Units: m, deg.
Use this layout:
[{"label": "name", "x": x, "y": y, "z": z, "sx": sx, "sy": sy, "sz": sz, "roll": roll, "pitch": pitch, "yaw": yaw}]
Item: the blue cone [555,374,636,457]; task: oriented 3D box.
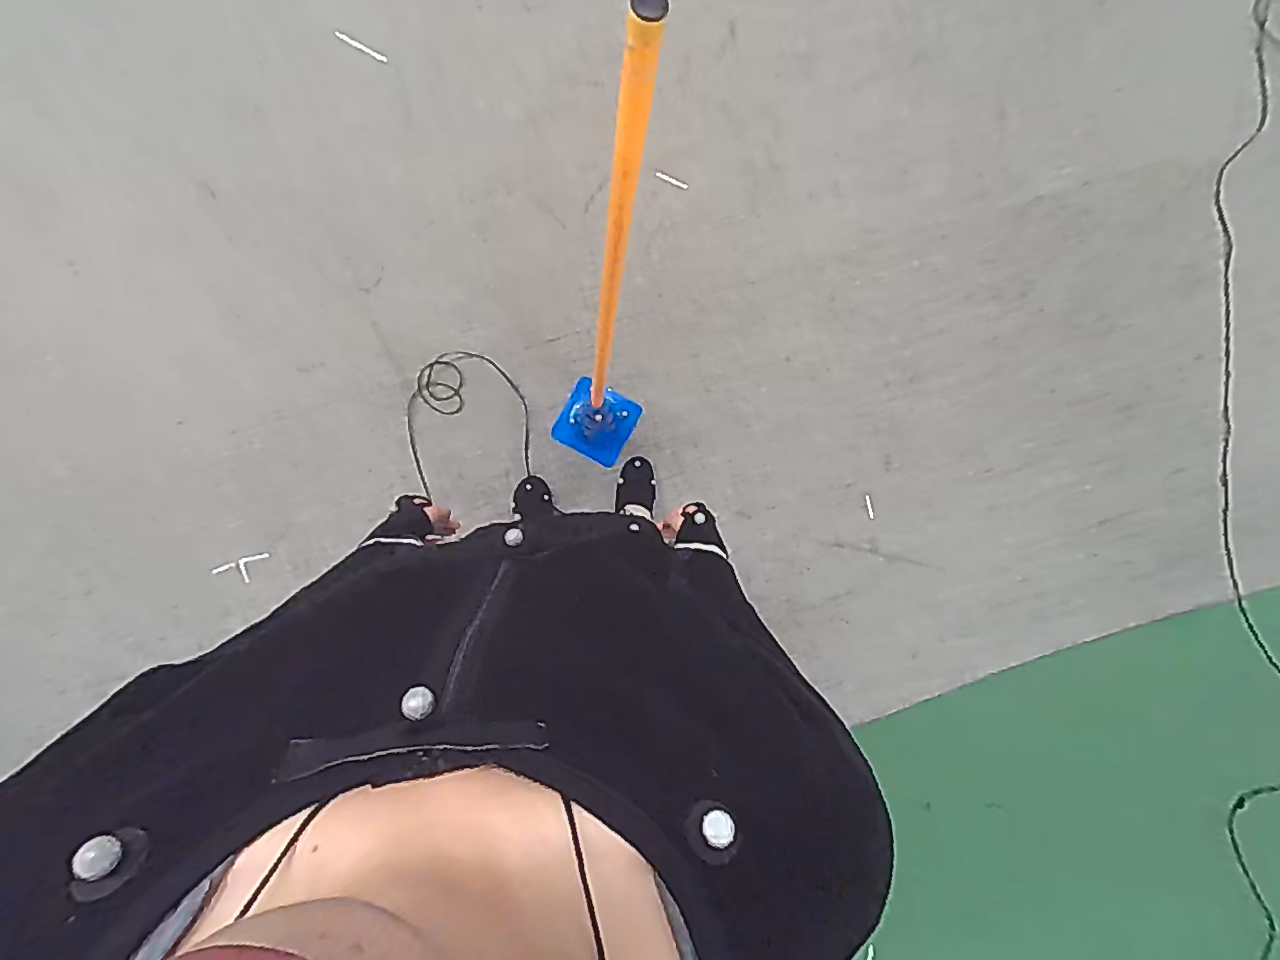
[{"label": "blue cone", "x": -0.106, "y": -0.181, "z": 1.319, "sx": 0.192, "sy": 0.380, "sz": 0.193, "roll": 27, "pitch": 87, "yaw": -5}]
